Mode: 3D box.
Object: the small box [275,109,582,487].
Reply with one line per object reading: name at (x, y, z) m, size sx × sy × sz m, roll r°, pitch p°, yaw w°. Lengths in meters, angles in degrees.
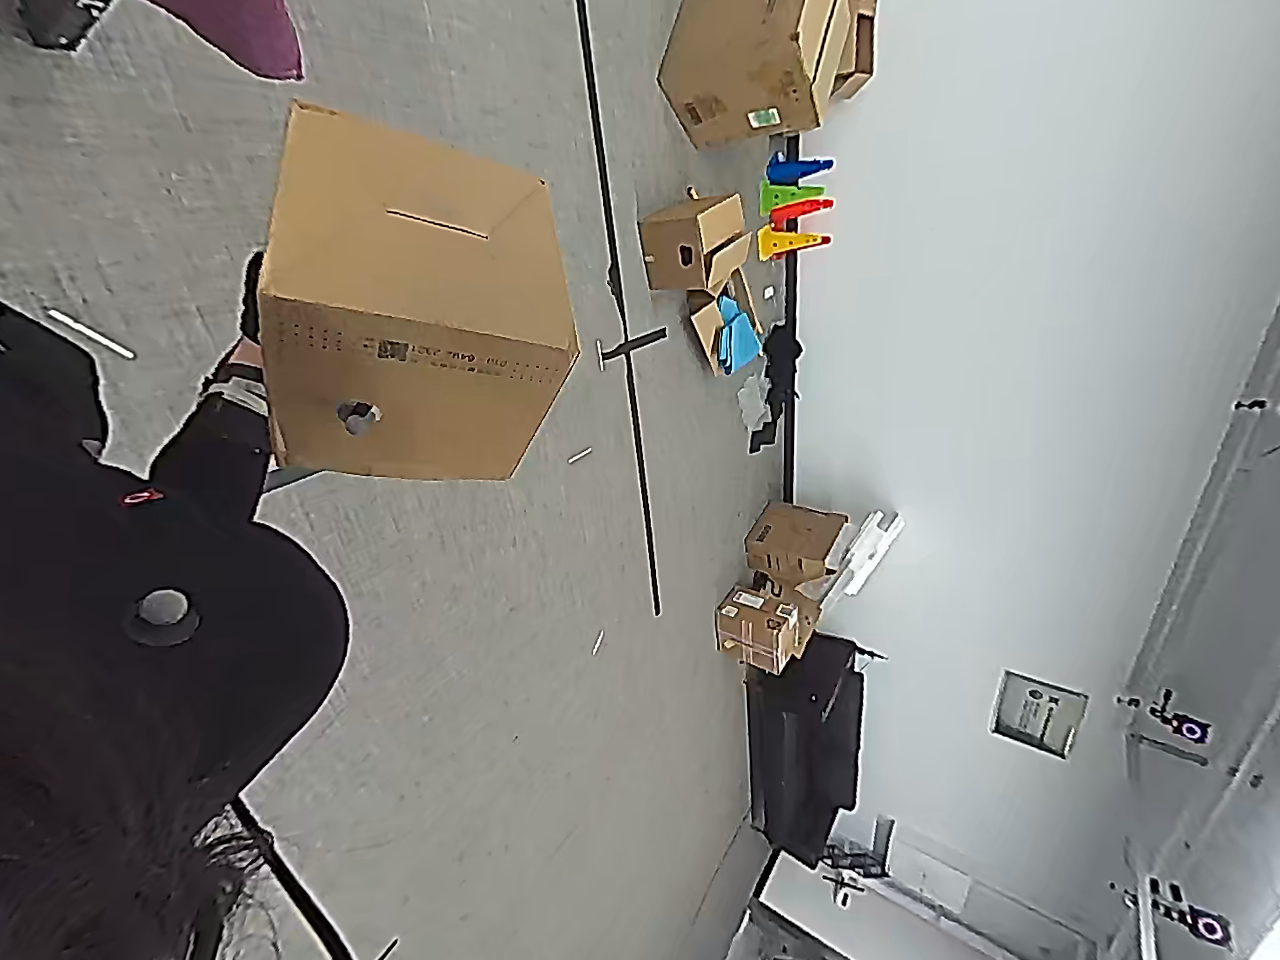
small box at (-0.154, -0.113, 0.386) m, size 0.168 × 0.176 × 0.179 m, roll 5°, pitch 58°, yaw -31°
